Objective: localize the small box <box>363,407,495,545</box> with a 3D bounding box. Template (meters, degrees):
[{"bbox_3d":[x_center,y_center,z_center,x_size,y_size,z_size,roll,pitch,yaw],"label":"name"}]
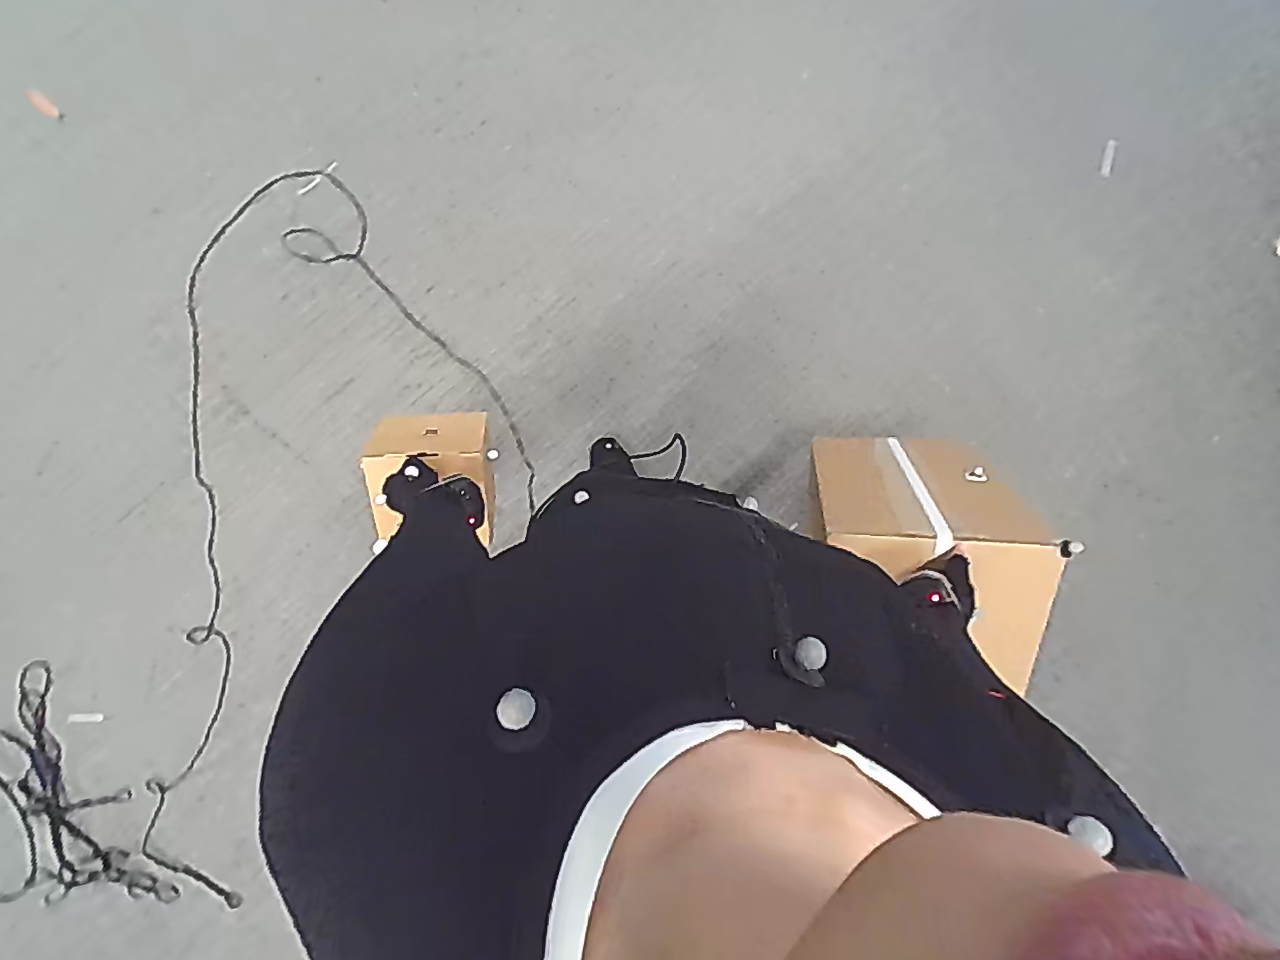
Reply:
[{"bbox_3d":[-0.333,-0.011,0.892,0.168,0.179,0.176,-4,119,-10],"label":"small box"}]
